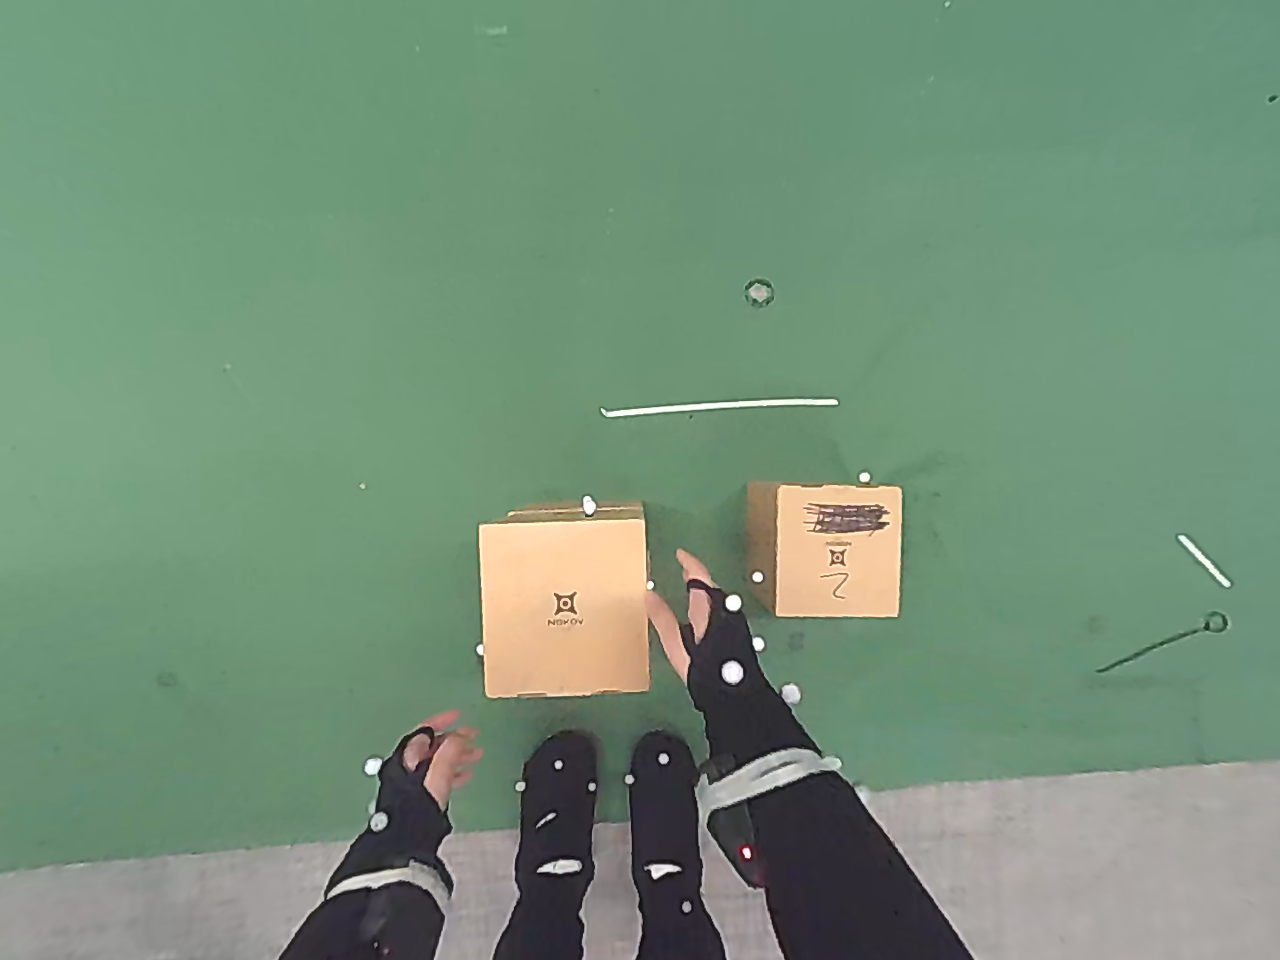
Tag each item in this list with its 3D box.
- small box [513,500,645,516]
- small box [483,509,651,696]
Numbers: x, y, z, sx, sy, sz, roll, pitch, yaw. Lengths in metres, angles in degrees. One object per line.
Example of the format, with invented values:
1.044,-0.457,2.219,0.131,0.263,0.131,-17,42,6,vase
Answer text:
-0.080,0.118,0.779,0.179,0.176,0.168,-2,91,0,small box
-0.075,0.124,0.616,0.168,0.176,0.179,-2,92,-1,small box
